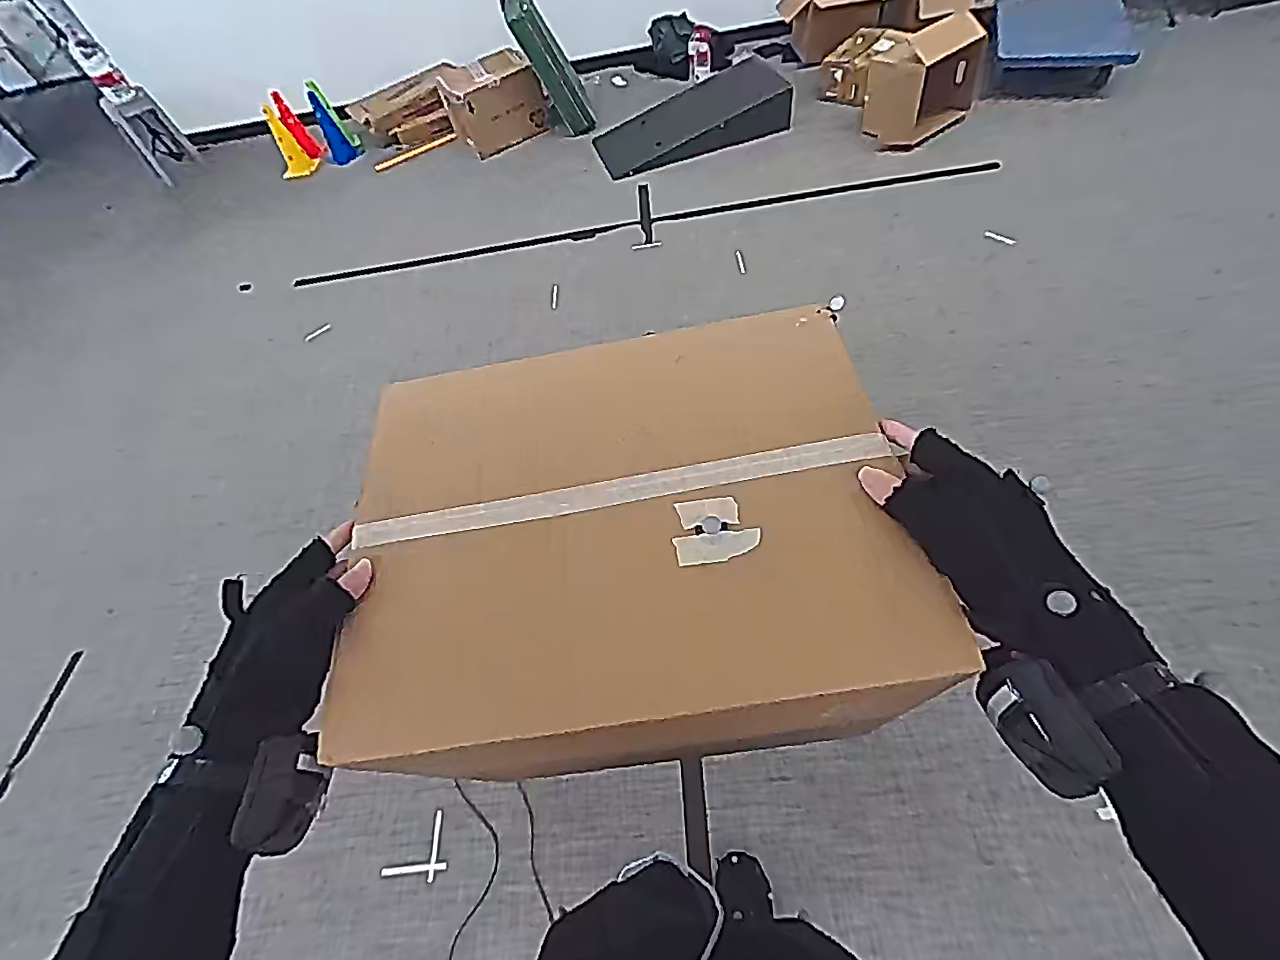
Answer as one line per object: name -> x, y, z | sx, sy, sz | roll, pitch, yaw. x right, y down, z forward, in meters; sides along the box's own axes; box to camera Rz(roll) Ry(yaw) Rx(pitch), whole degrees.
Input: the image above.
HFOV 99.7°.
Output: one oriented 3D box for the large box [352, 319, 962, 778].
large box -> 0.006, 0.092, 0.545 | 0.408, 0.320, 0.320 | -10, 59, 3
